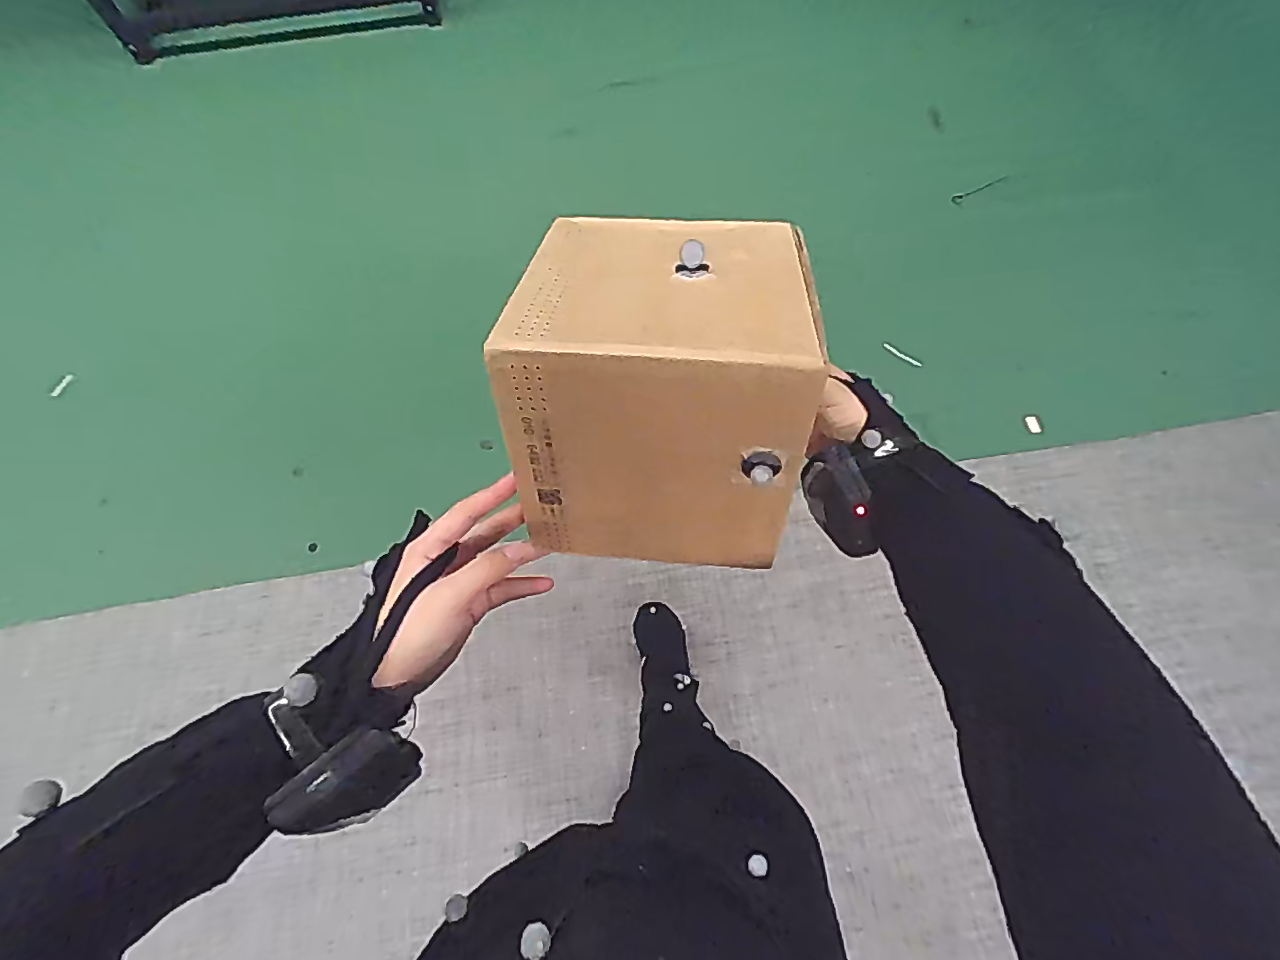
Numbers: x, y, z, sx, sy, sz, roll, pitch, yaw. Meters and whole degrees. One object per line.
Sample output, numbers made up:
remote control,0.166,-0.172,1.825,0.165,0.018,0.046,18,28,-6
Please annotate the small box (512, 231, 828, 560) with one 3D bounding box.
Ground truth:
small box,0.017,-0.065,0.387,0.176,0.168,0.179,3,46,4
